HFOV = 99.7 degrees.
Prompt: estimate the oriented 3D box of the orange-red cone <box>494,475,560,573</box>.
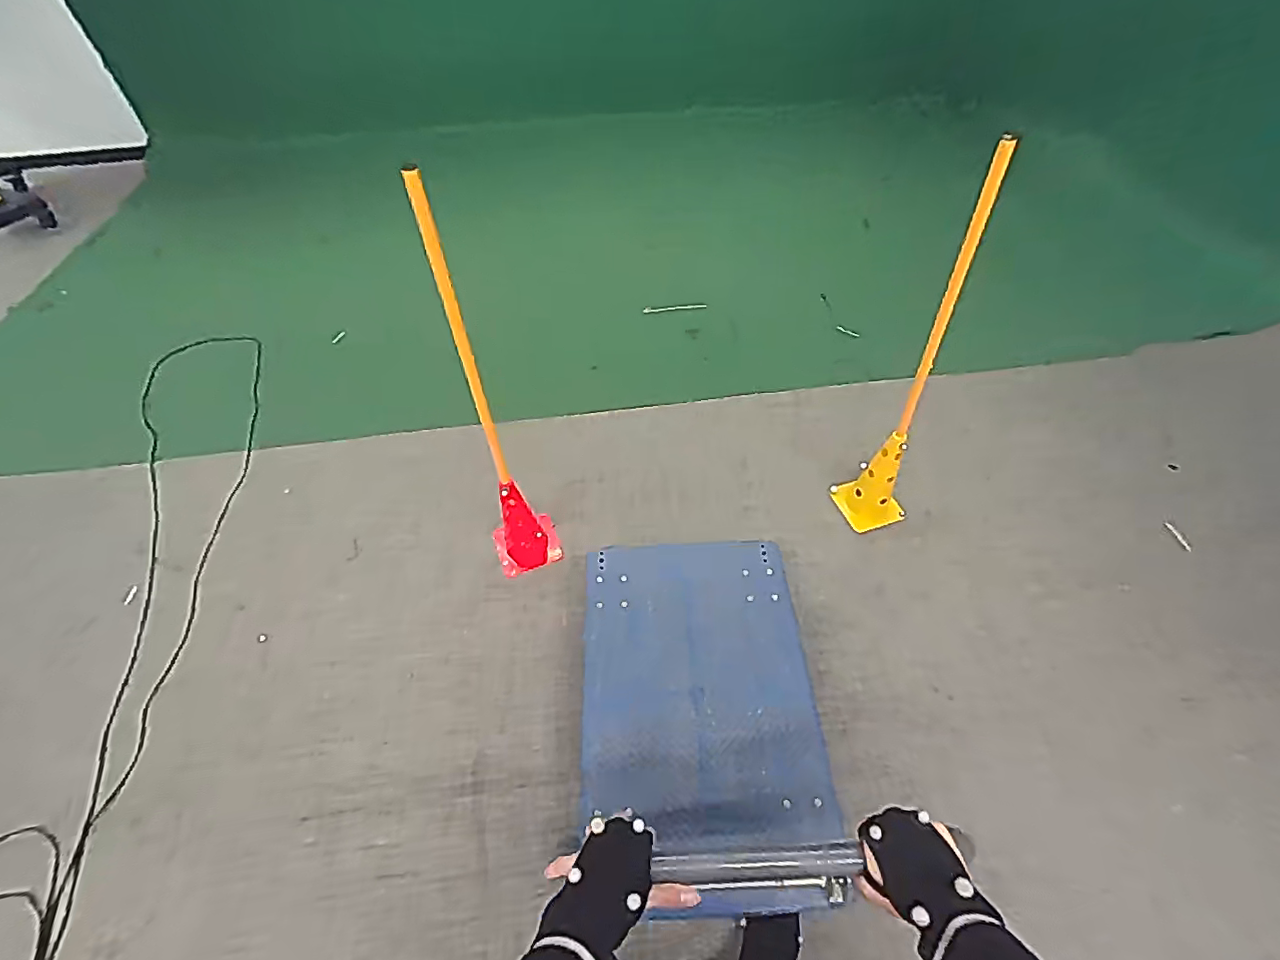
[{"bbox_3d":[-0.389,0.107,1.688,0.199,0.360,0.198,-19,53,-11],"label":"orange-red cone"}]
